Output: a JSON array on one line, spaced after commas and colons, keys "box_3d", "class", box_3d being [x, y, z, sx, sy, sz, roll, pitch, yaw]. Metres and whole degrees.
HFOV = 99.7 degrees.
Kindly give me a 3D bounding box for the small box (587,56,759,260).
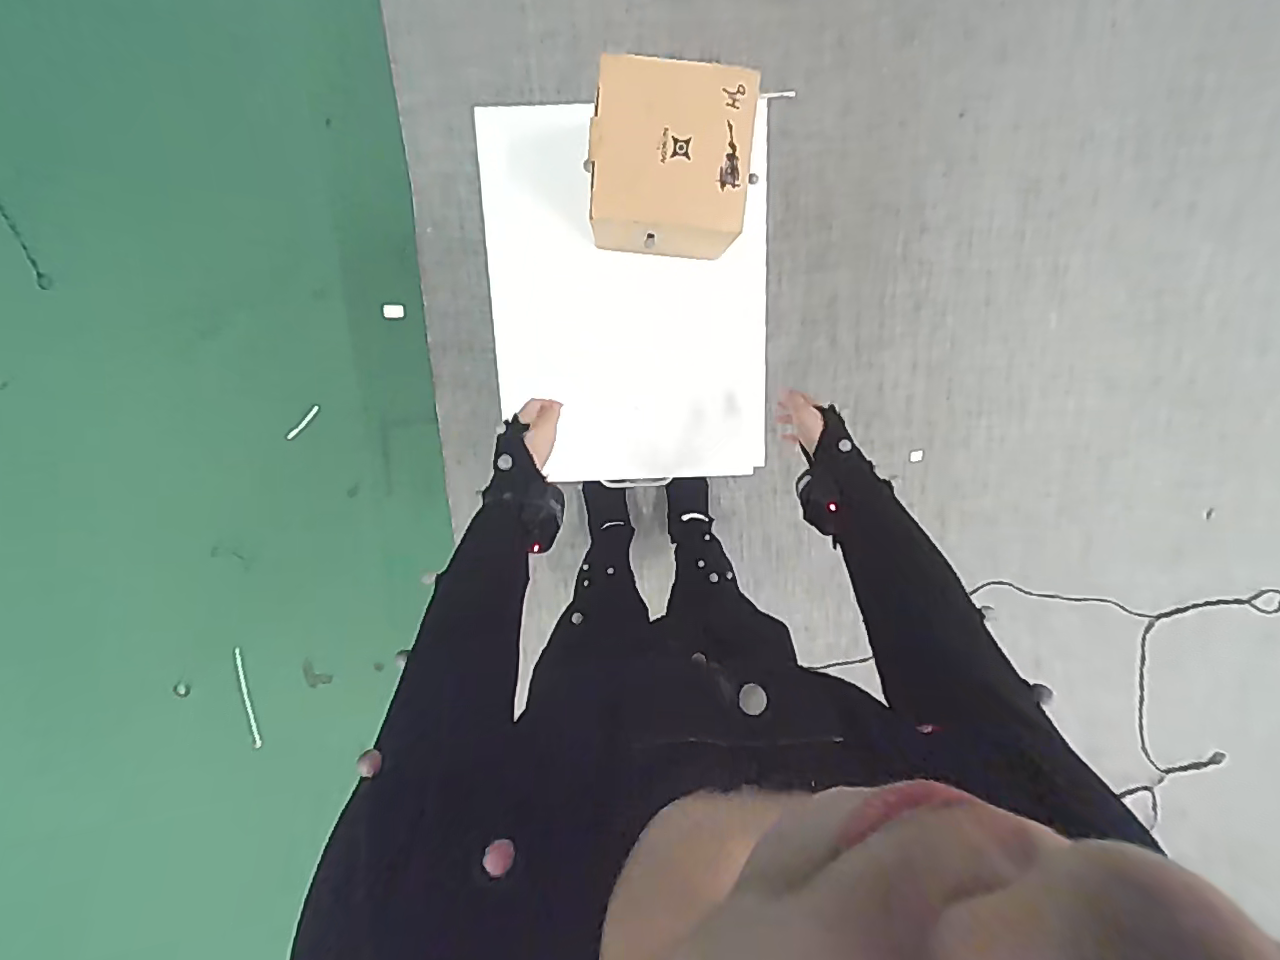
[{"box_3d": [0.033, -0.379, 0.670, 0.179, 0.176, 0.168, 4, 102, -2], "class": "small box"}]
